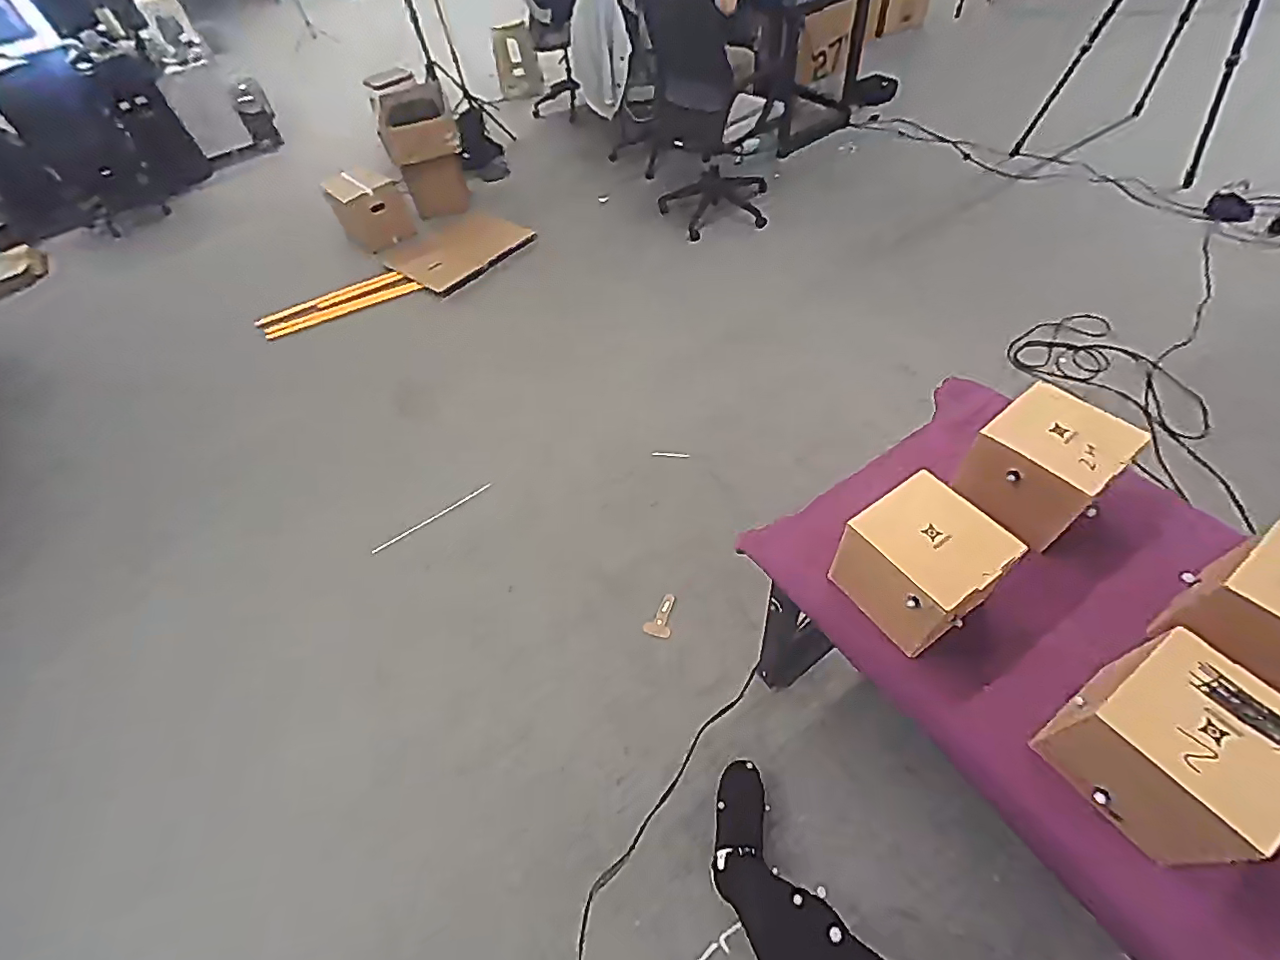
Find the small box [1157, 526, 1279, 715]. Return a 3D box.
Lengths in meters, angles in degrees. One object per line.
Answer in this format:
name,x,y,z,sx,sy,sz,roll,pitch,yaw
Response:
small box,0.847,0.181,0.695,0.168,0.176,0.179,-33,55,-15

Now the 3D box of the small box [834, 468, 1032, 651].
small box,0.419,0.121,0.809,0.168,0.176,0.179,-31,55,-15

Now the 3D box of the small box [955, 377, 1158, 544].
small box,0.657,-0.029,0.880,0.168,0.176,0.179,-35,56,-15
